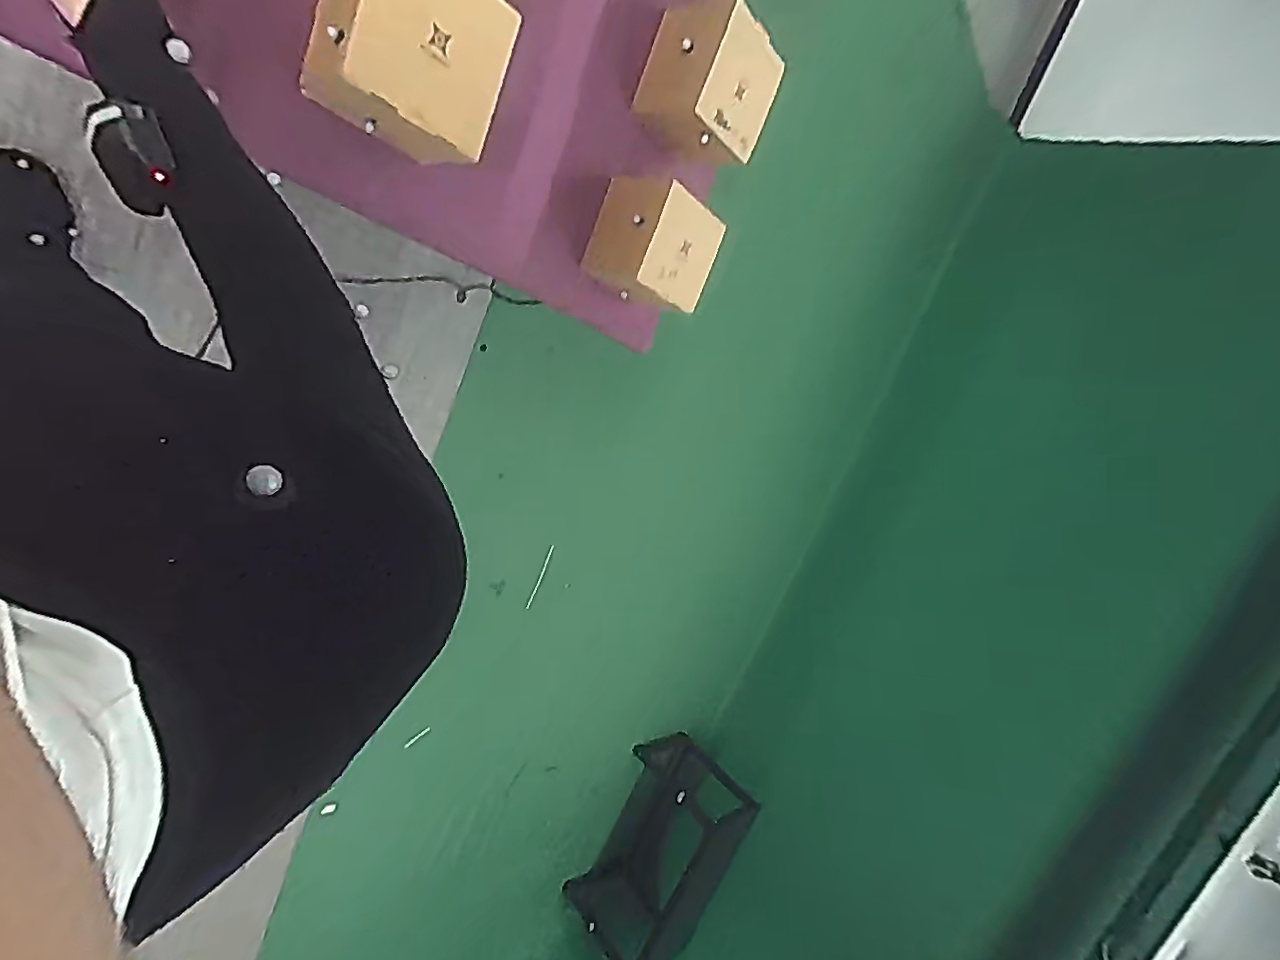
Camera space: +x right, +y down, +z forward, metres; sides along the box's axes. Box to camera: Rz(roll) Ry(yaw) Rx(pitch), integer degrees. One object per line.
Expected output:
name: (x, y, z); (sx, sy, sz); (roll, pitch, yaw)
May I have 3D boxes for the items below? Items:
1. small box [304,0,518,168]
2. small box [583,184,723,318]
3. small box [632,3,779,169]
small box: (-0.284, -0.515, 0.661); (0.168, 0.176, 0.179); (10, 106, -49)
small box: (0.020, -0.432, 1.021); (0.168, 0.176, 0.179); (14, 102, -48)
small box: (0.112, -0.688, 0.967); (0.168, 0.176, 0.179); (10, 105, -48)
